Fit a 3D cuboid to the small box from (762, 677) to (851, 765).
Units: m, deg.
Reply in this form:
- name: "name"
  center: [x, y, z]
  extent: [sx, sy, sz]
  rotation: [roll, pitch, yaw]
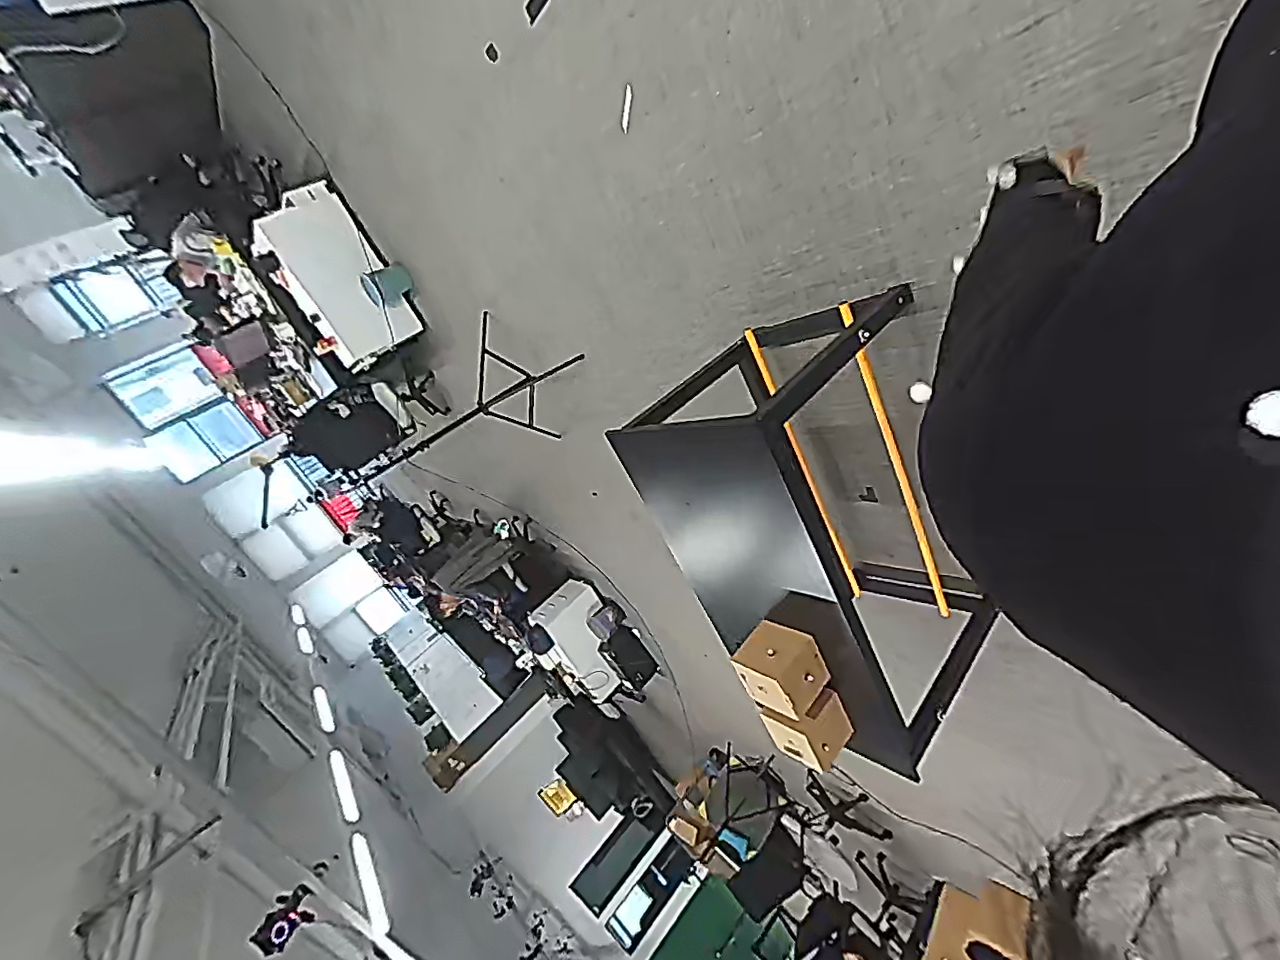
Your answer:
- name: "small box"
  center: [0.502, 0.697, 1.617]
  extent: [0.168, 0.176, 0.179]
  rotation: [4, 128, 54]

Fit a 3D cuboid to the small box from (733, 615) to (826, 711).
- name: "small box"
  center: [0.401, 0.508, 1.527]
  extent: [0.179, 0.176, 0.168]
  rotation: [4, 129, 54]
